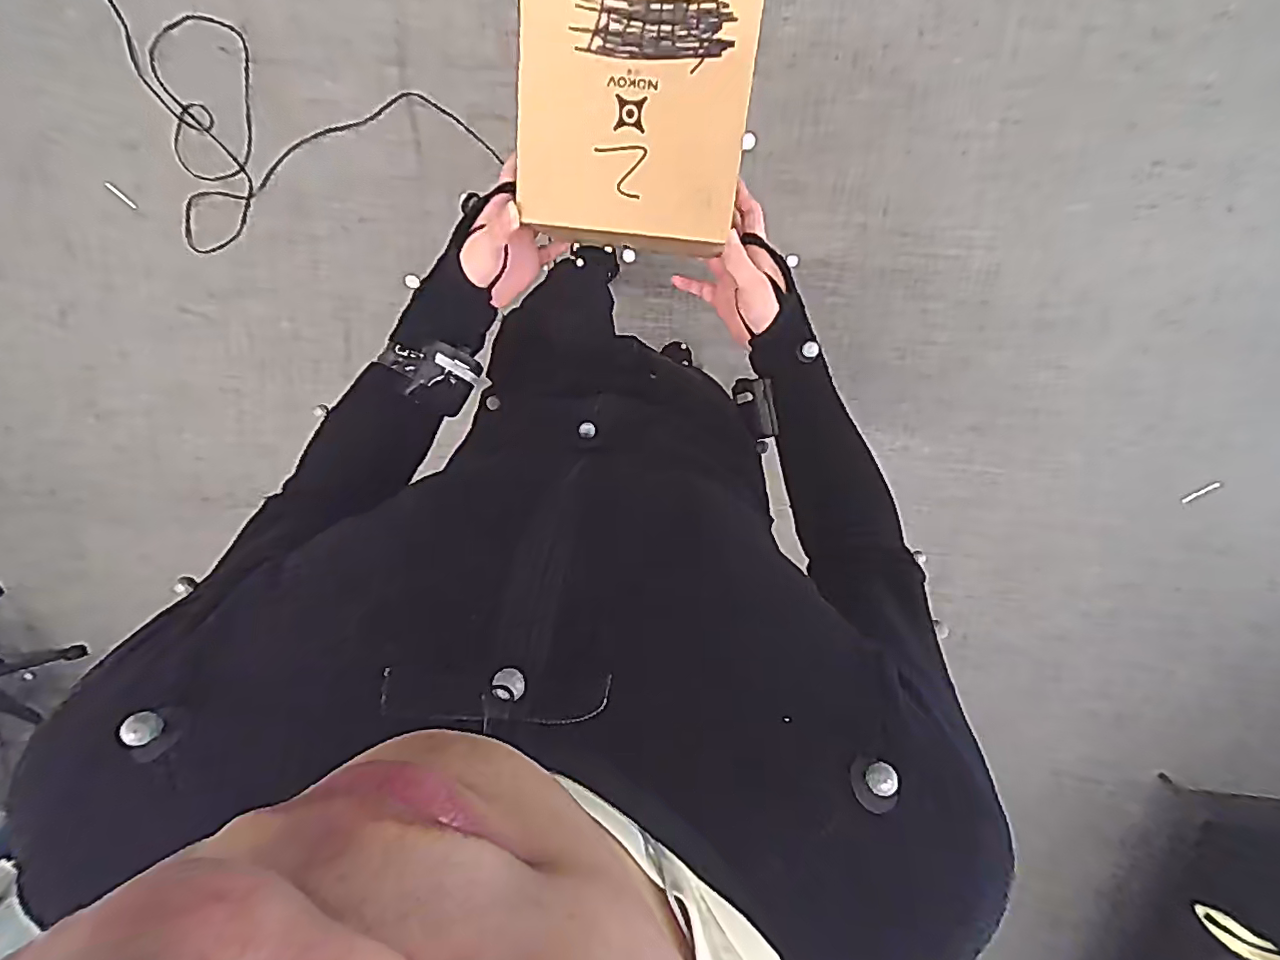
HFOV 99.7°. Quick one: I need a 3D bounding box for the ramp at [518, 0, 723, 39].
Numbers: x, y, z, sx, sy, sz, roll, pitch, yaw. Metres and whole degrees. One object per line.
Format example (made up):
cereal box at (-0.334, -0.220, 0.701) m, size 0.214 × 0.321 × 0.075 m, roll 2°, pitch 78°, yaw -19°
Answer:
ramp at (-0.042, -1.507, 1.069) m, size 0.509 × 0.206 × 0.991 m, roll 2°, pitch 108°, yaw 4°
